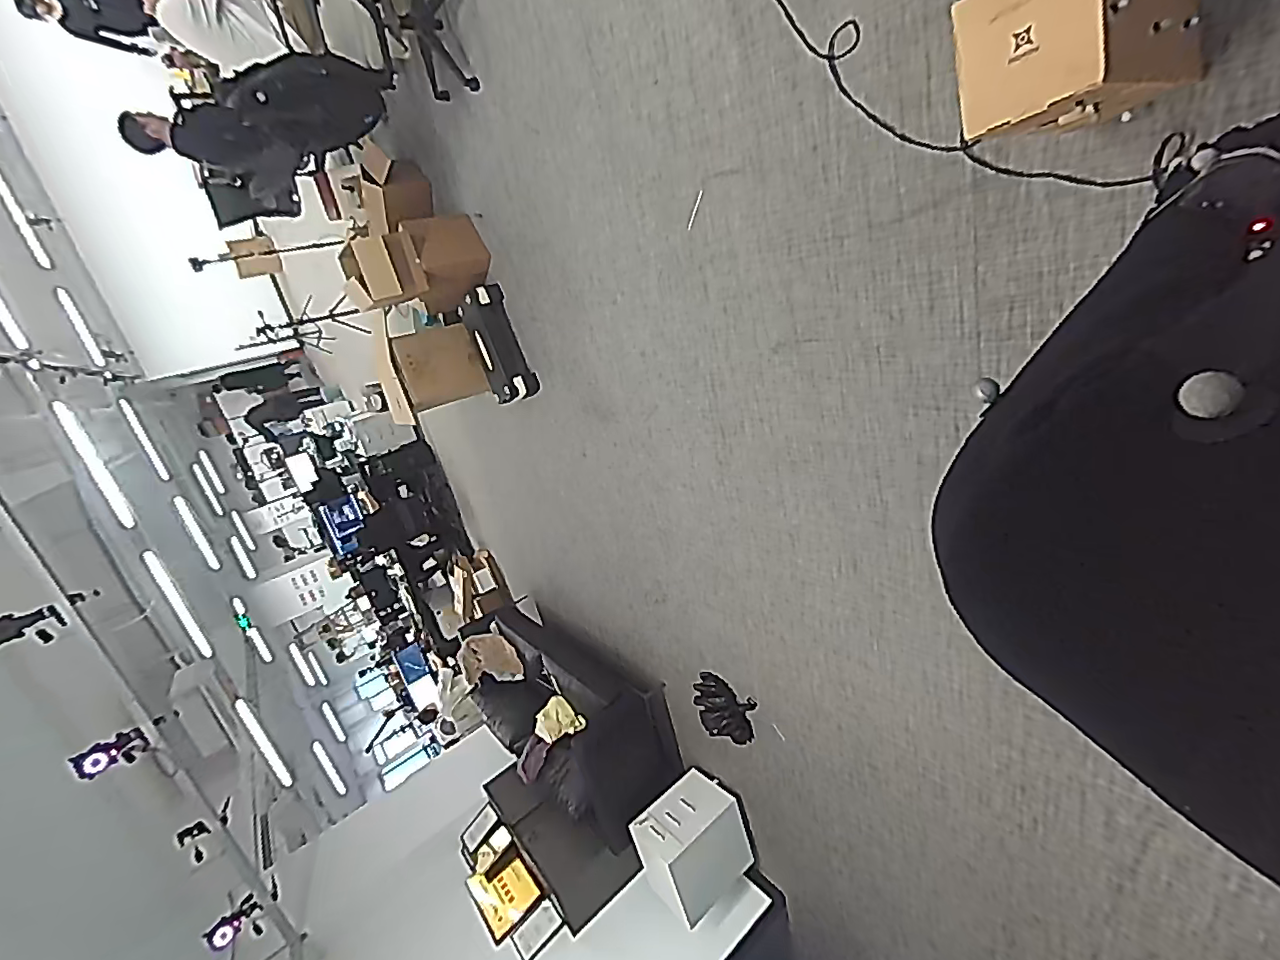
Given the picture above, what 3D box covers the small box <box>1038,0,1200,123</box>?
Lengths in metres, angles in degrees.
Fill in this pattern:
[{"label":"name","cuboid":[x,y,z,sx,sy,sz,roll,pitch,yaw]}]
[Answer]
[{"label":"small box","cuboid":[0.809,-0.738,0.912,0.168,0.176,0.179,1,115,56]}]
